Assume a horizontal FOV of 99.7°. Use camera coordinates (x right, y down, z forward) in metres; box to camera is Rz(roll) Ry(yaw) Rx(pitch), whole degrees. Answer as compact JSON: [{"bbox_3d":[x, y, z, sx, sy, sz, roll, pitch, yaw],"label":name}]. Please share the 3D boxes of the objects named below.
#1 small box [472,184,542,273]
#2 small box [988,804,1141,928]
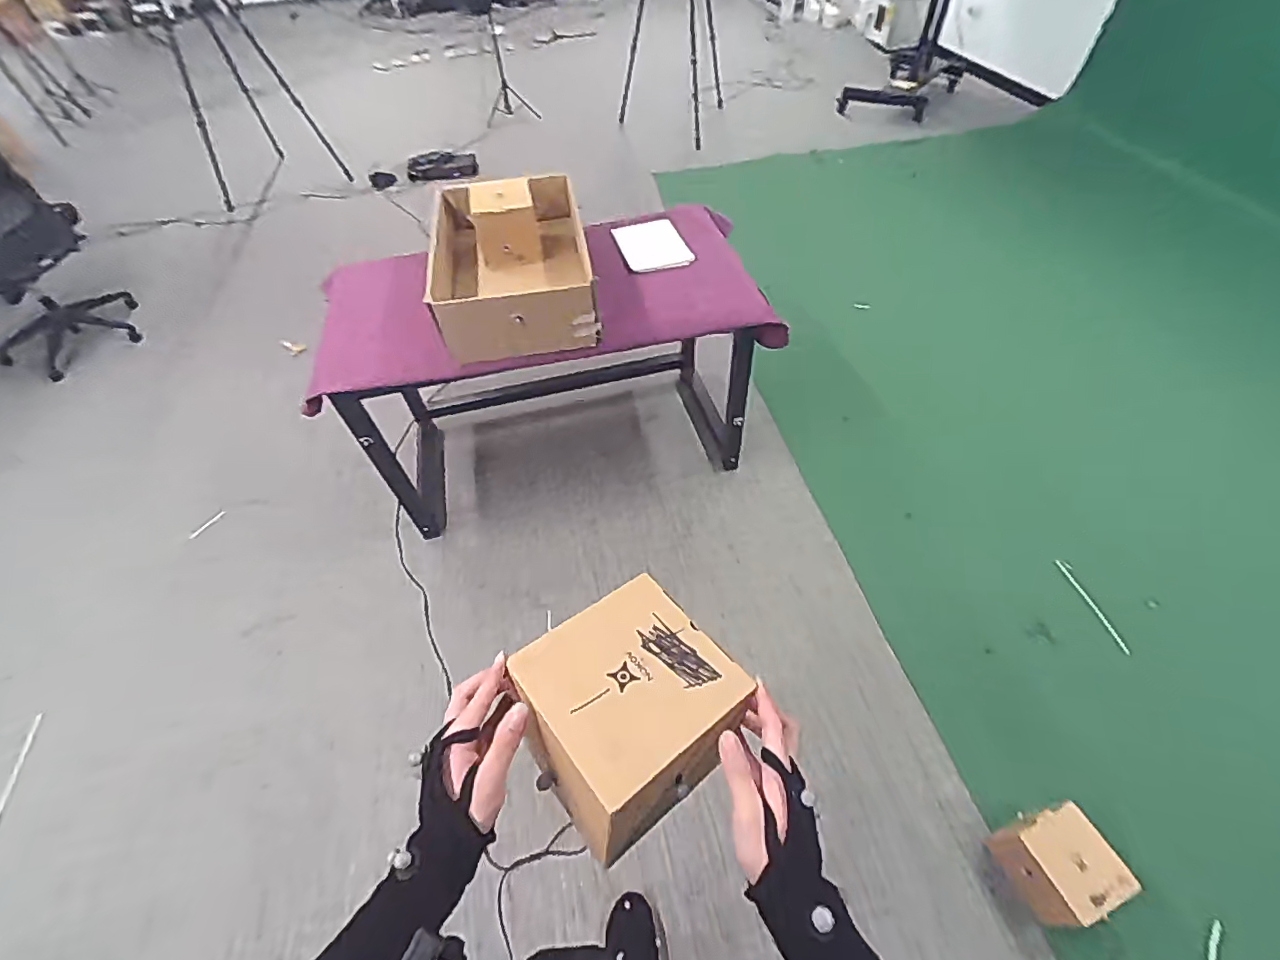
[{"bbox_3d":[-0.385,-0.730,1.571,0.168,0.176,0.179,-11,54,-7],"label":"small box"},{"bbox_3d":[0.934,0.865,1.212,0.168,0.176,0.179,-20,53,-12],"label":"small box"}]
